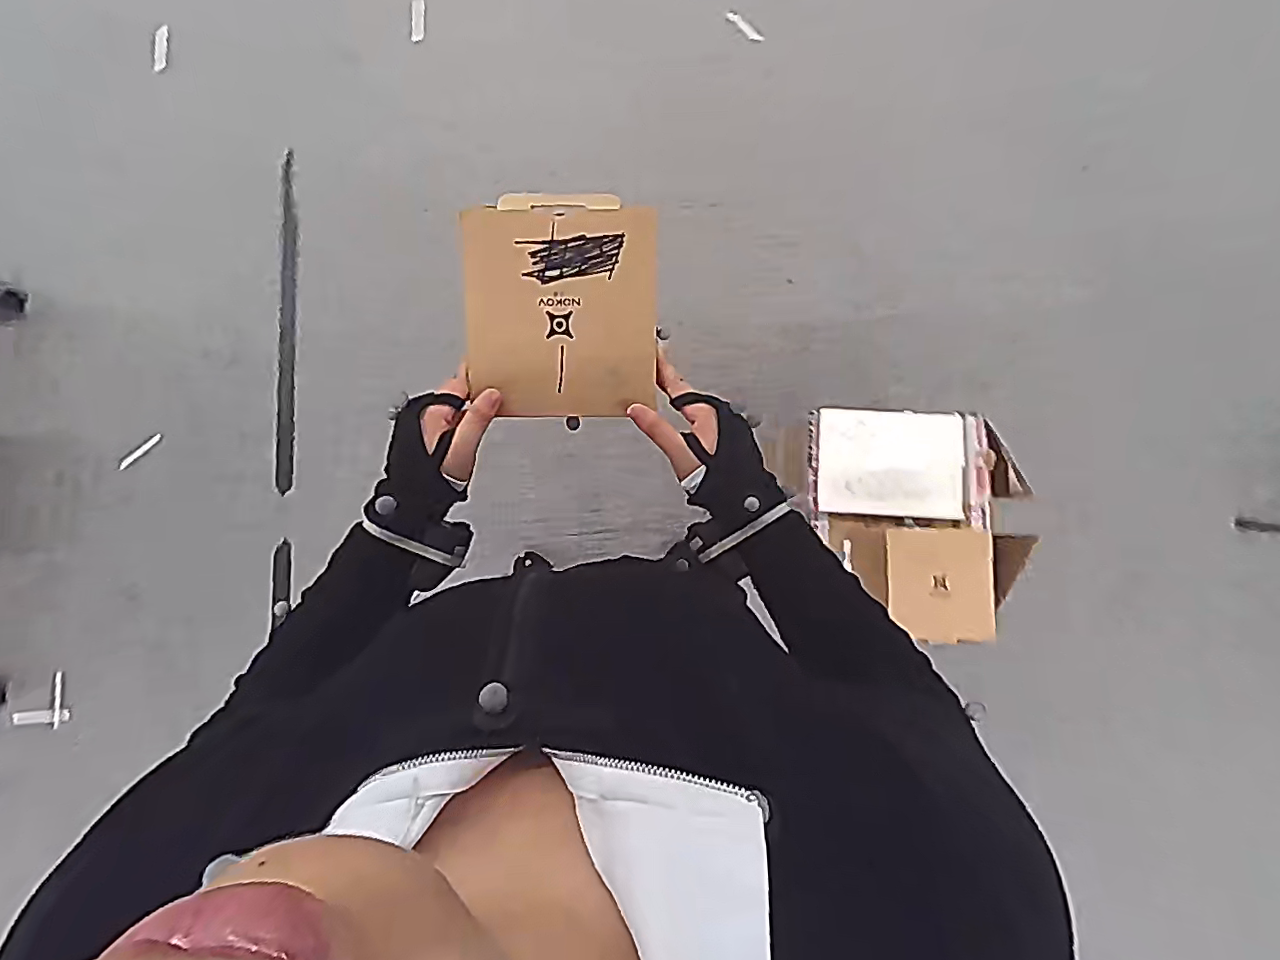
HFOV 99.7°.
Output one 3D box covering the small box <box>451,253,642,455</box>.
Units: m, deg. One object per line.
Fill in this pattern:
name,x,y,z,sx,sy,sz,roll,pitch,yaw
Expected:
small box,-0.083,-0.120,0.557,0.168,0.176,0.179,-1,99,0
